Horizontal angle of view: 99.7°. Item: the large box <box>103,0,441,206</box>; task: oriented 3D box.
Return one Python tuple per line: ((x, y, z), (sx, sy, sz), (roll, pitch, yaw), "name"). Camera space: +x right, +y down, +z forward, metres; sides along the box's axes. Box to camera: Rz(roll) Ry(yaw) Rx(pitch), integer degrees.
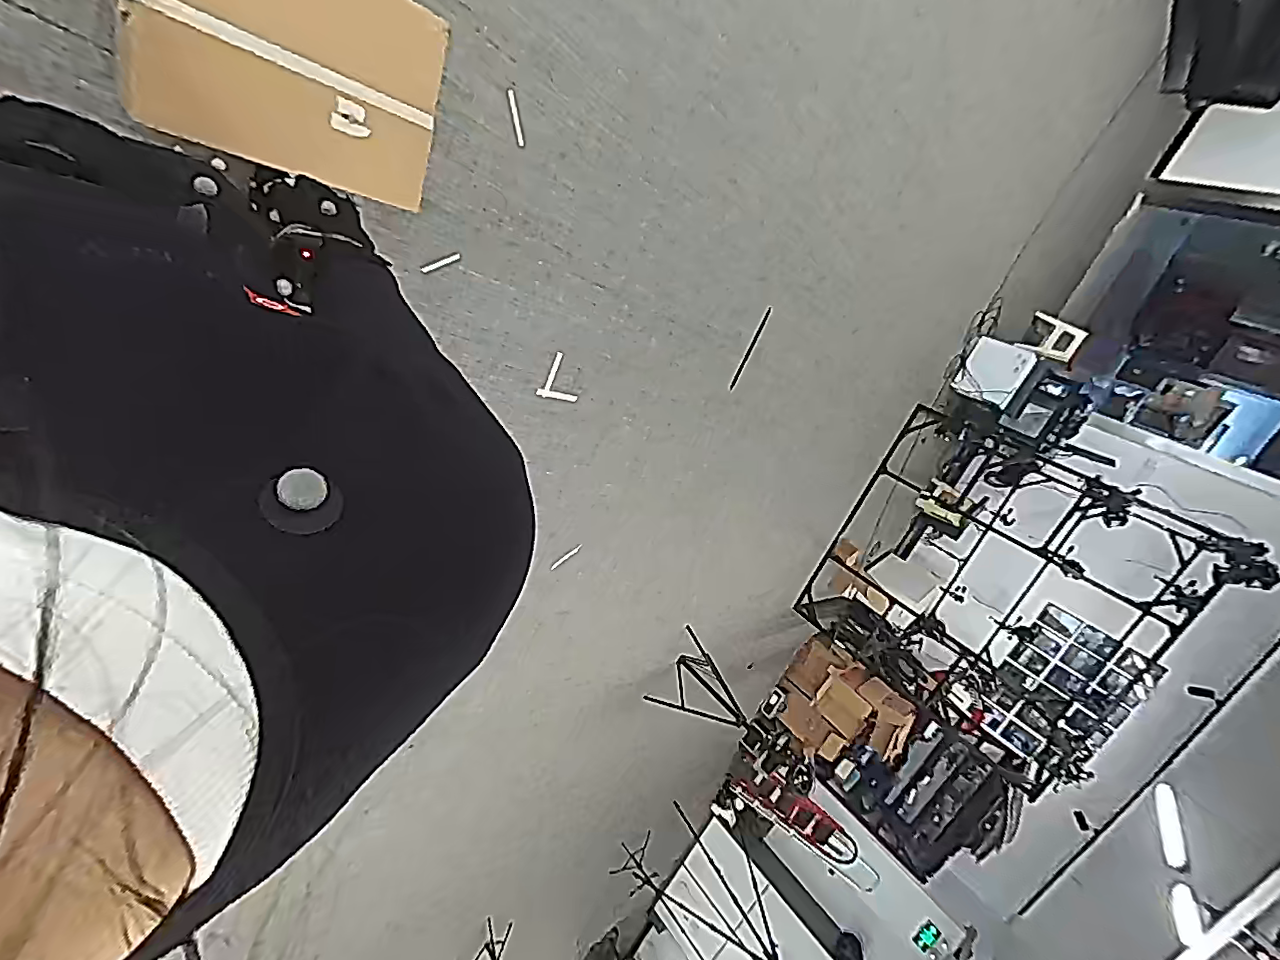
((-0.617, -0.711, 0.911), (0.408, 0.320, 0.320), (-4, 123, -47), "large box")
